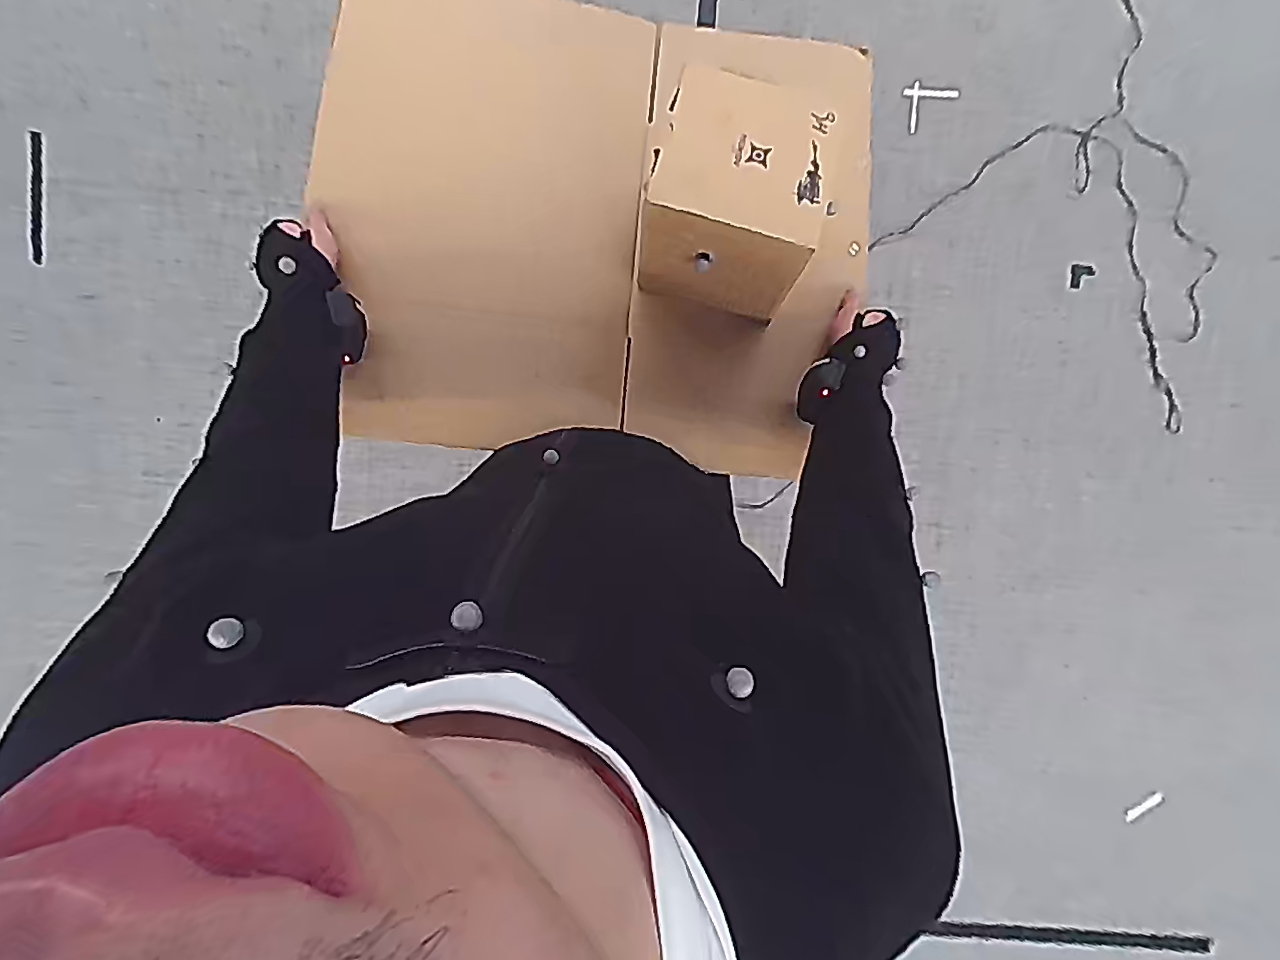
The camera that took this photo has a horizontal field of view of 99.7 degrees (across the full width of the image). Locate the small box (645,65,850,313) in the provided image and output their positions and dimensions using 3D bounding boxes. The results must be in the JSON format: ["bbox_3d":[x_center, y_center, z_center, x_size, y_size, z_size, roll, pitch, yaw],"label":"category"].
[{"bbox_3d":[0.108,-0.314,0.618,0.179,0.176,0.168,16,82,1],"label":"small box"}]
